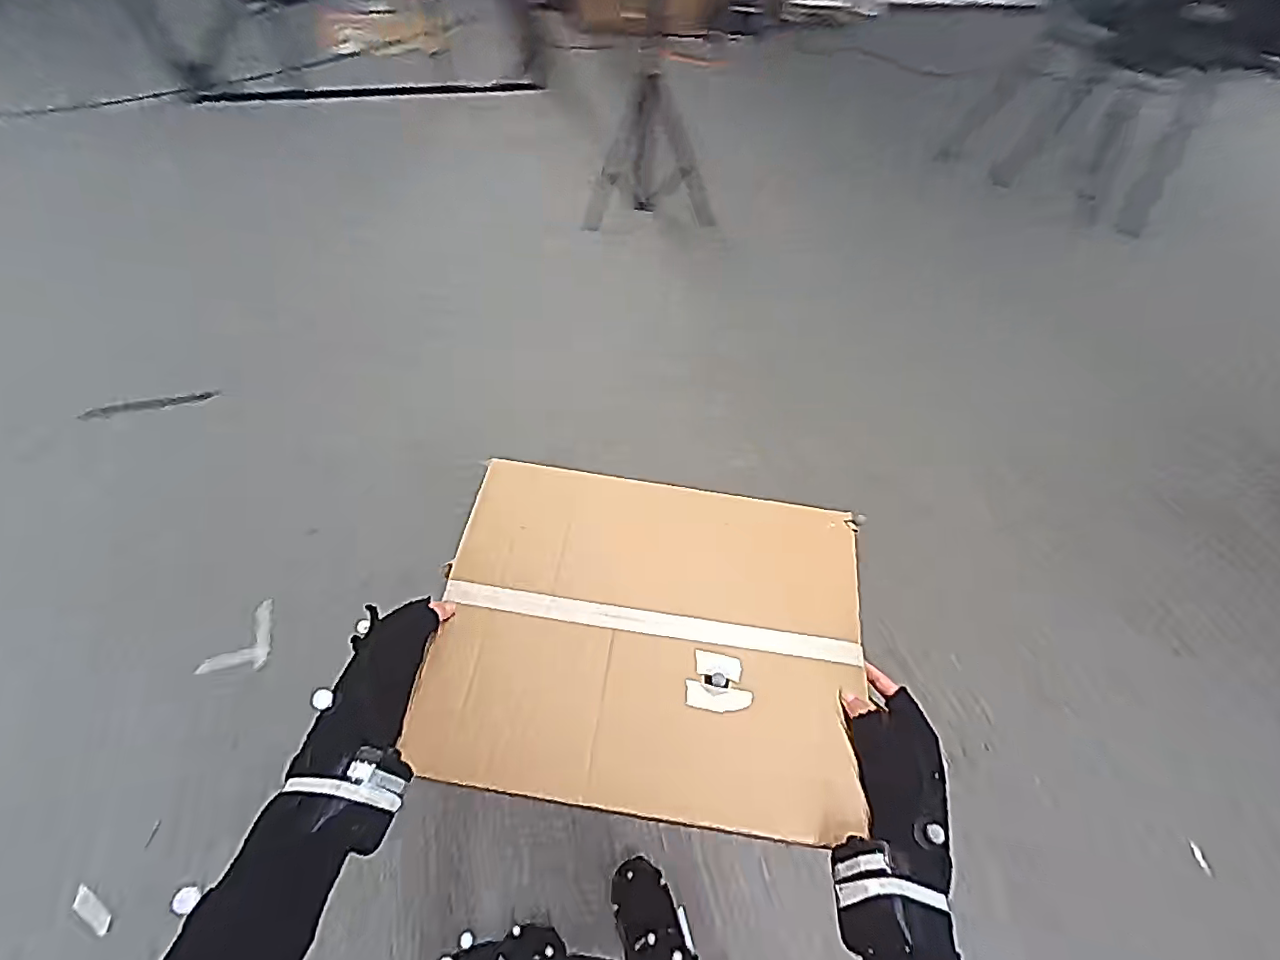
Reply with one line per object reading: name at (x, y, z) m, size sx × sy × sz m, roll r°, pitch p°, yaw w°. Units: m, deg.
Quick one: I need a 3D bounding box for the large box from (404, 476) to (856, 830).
large box at (-0.005, 0.224, 0.667) m, size 0.408 × 0.320 × 0.320 m, roll 8°, pitch 59°, yaw 0°
